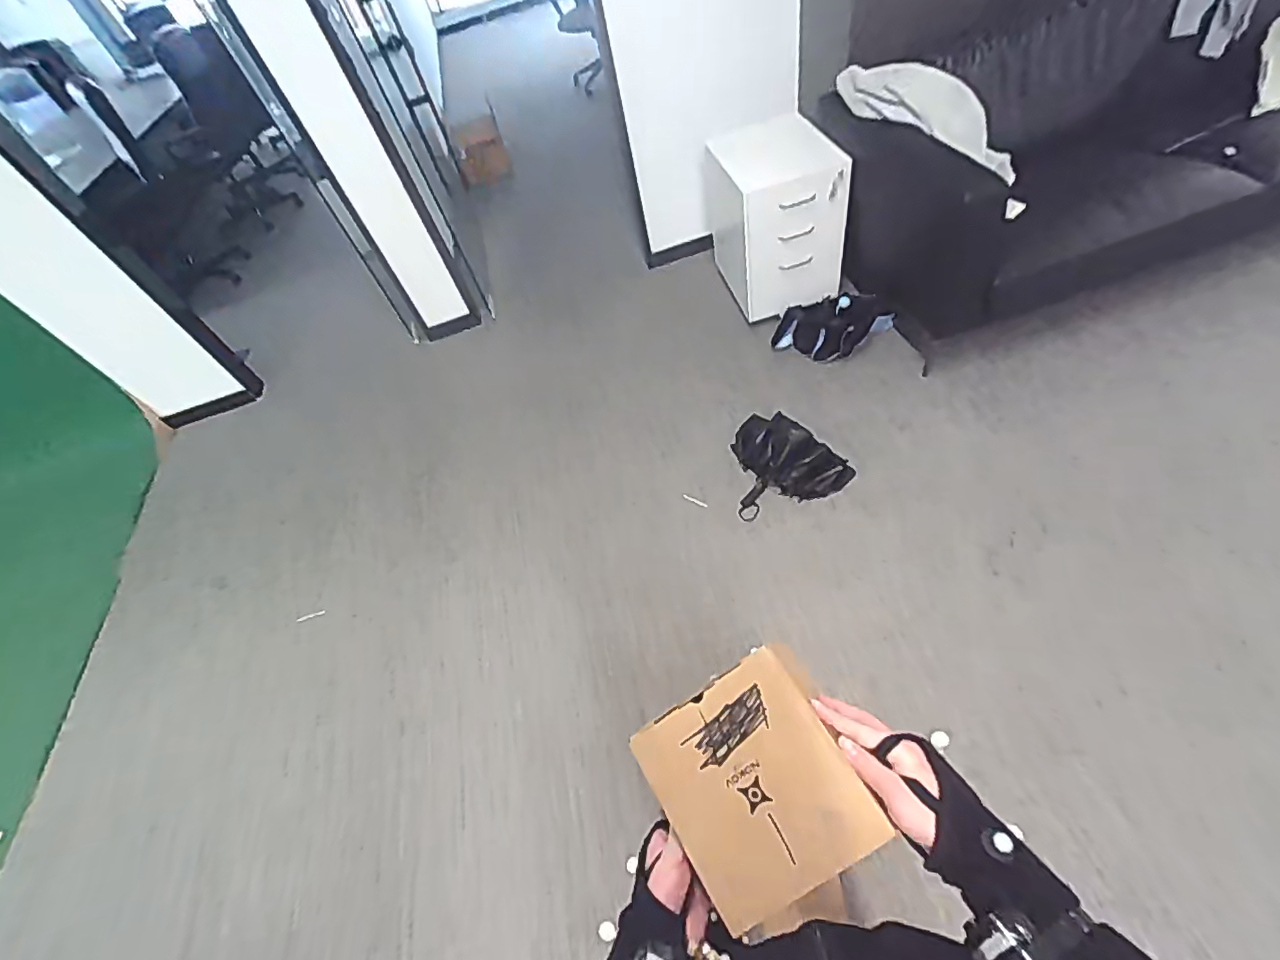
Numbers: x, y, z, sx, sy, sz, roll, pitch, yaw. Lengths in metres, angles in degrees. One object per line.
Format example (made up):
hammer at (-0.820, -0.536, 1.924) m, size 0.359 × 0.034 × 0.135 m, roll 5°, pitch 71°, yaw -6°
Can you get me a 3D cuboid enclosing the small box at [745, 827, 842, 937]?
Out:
small box at (0.321, 0.864, 1.164) m, size 0.168 × 0.176 × 0.179 m, roll -10°, pitch 53°, yaw 7°
